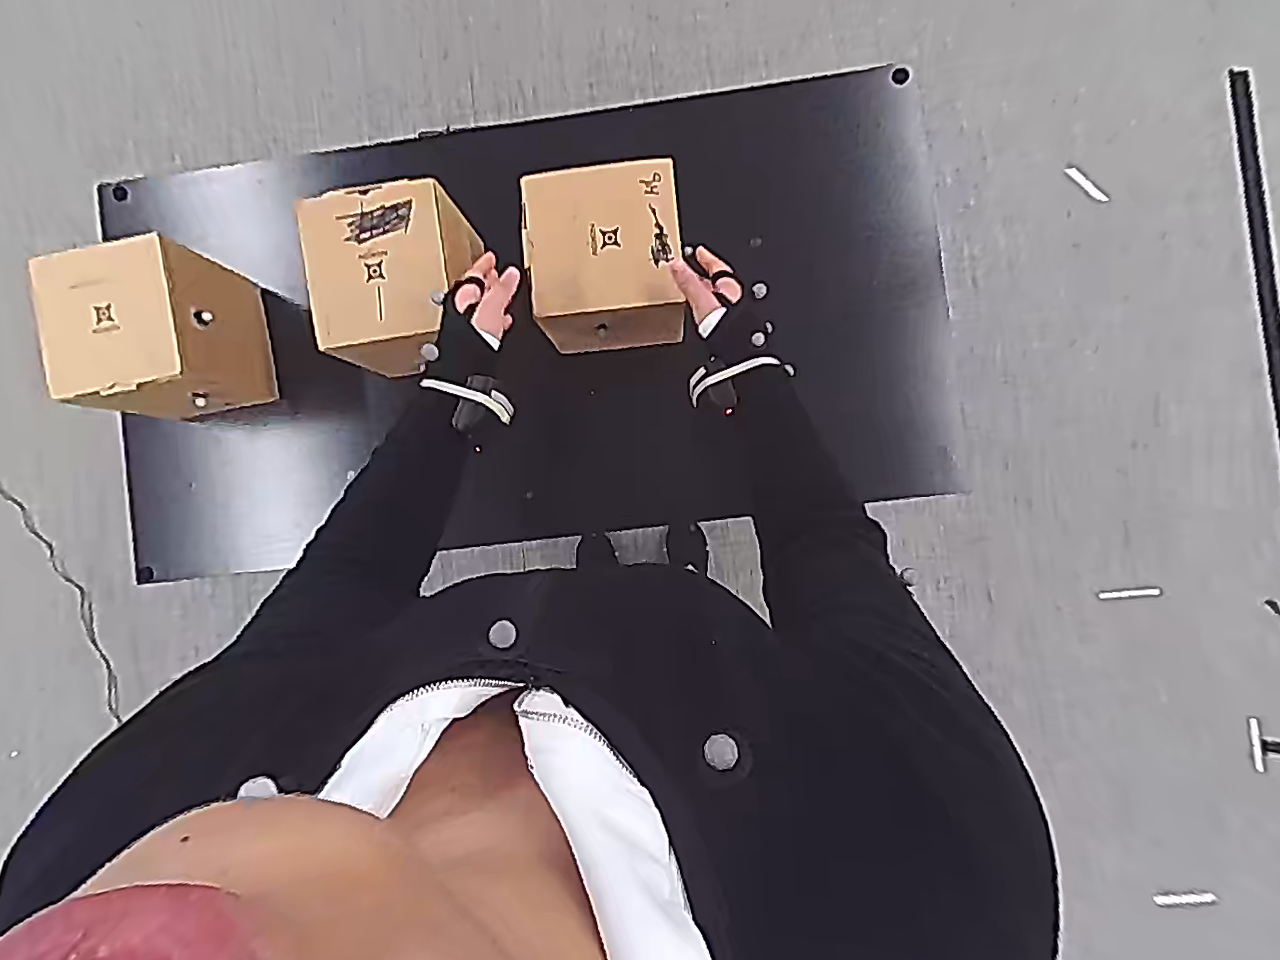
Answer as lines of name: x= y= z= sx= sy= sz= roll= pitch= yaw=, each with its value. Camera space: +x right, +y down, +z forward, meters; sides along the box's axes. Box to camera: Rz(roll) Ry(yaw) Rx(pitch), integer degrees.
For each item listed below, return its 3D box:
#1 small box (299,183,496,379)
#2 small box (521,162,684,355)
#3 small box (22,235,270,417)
small box: x=-0.296 y=-0.240 z=0.693 sx=0.168 sy=0.176 sz=0.179 roll=-8 pitch=90 yaw=2
small box: x=-0.037 y=-0.263 z=0.683 sx=0.179 sy=0.176 sz=0.168 roll=-5 pitch=89 yaw=3
small box: x=-0.624 y=-0.184 z=0.707 sx=0.168 sy=0.176 sz=0.179 roll=-11 pitch=88 yaw=1
